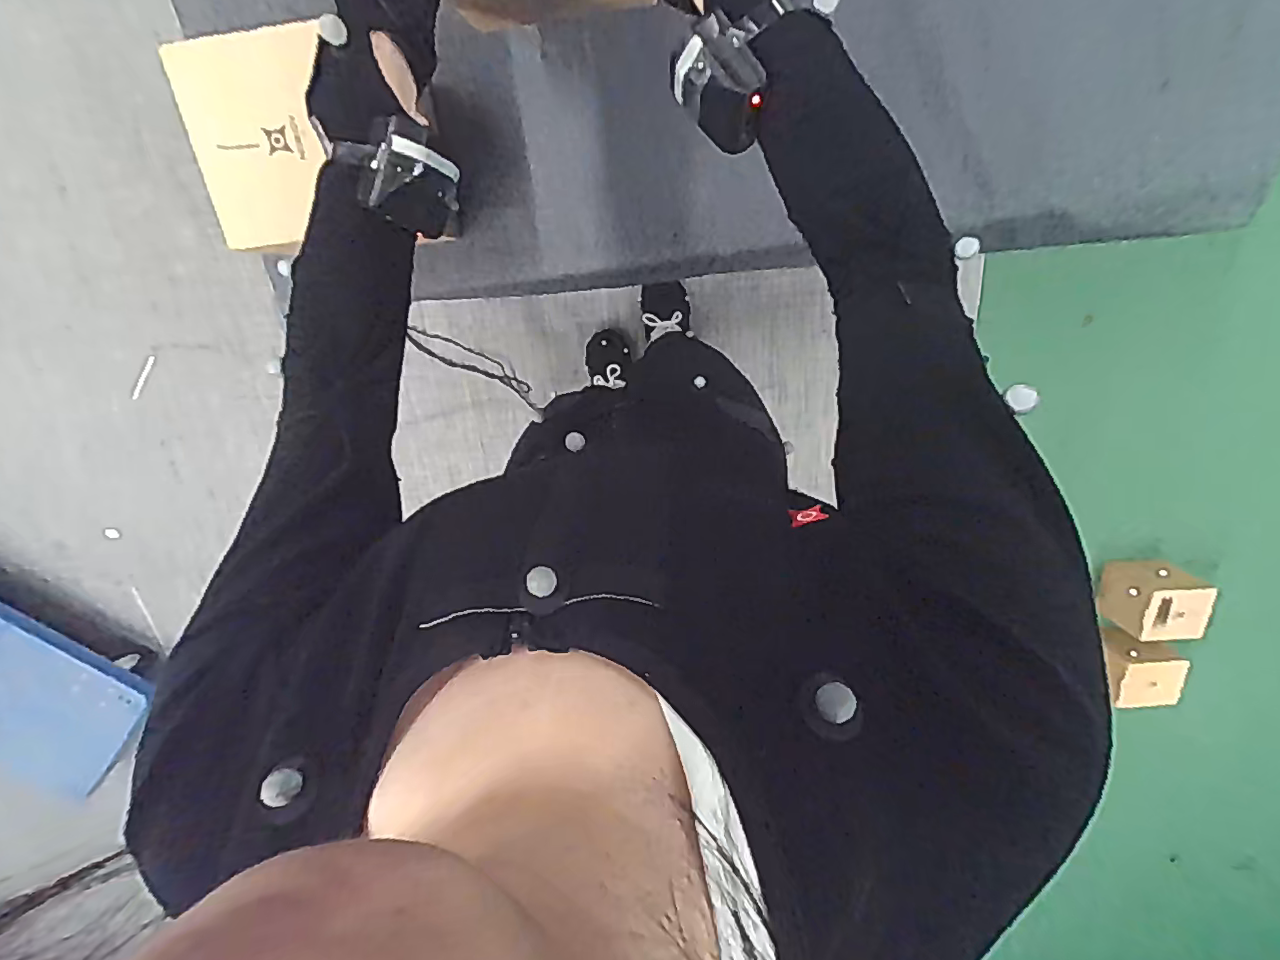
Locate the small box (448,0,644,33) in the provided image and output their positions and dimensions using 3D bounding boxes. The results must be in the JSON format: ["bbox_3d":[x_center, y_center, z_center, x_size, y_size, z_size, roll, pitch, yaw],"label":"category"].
[{"bbox_3d":[-0.080,-0.481,0.420,0.179,0.176,0.168,-4,116,6],"label":"small box"}]

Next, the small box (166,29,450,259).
[{"bbox_3d":[-0.314,-0.328,0.563,0.179,0.176,0.168,-6,110,3],"label":"small box"}]

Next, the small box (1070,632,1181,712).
[{"bbox_3d":[1.491,0.587,1.672,0.179,0.176,0.168,-5,111,3],"label":"small box"}]
